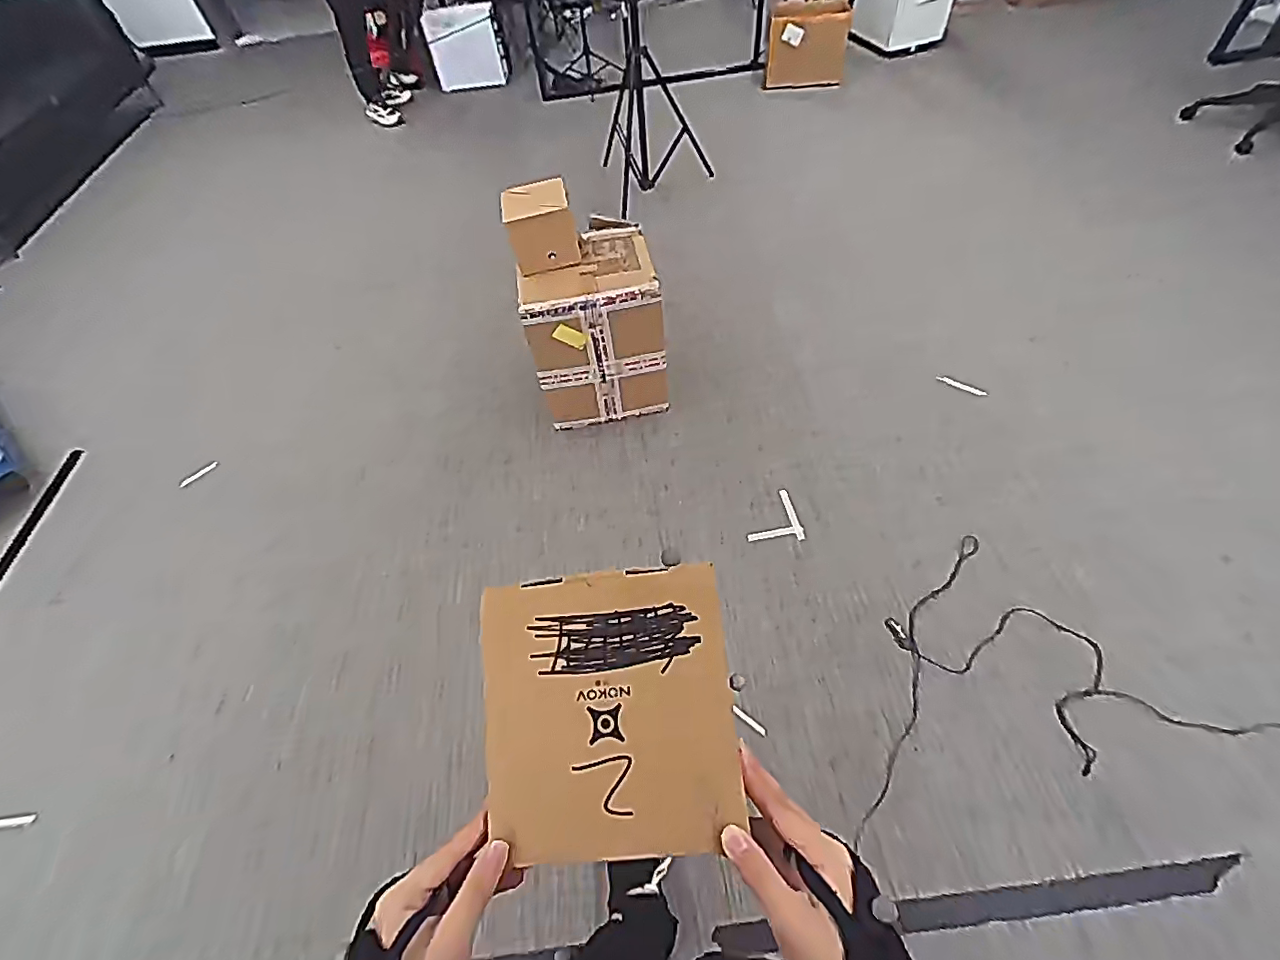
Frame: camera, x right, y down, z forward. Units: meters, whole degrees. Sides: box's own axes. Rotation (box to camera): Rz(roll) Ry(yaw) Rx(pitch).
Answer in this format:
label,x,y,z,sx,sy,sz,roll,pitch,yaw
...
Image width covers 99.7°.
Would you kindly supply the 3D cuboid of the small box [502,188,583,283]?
label,x,y,z,sx,sy,sz,roll,pitch,yaw
small box,-0.273,-0.691,1.521,0.179,0.176,0.168,-13,55,0
